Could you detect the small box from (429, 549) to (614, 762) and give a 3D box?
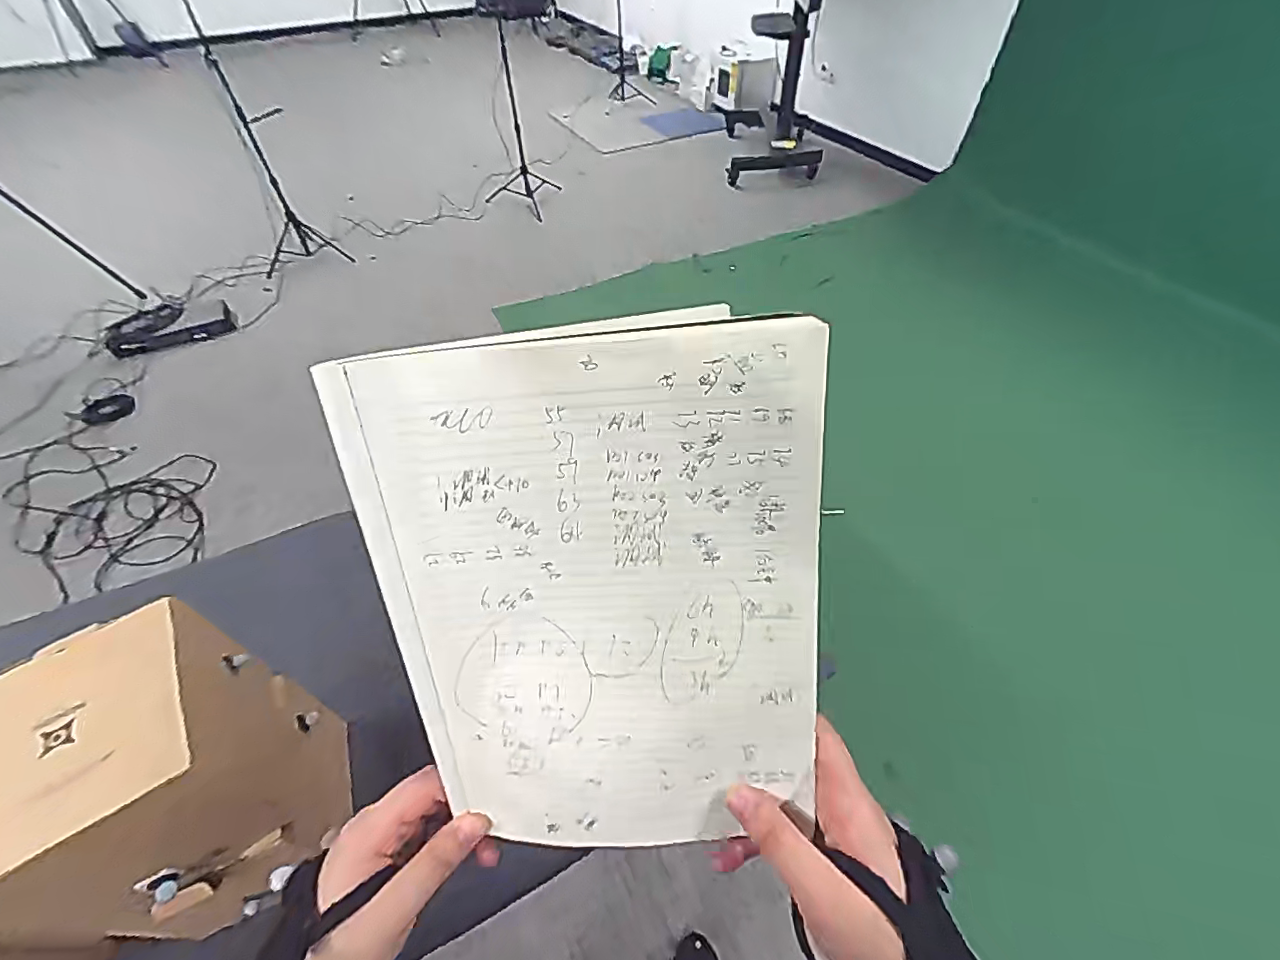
[{"bbox_3d":[-0.142,0.226,0.695,0.179,0.176,0.168,-23,51,-16],"label":"small box"}]

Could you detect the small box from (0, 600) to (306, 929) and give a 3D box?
[{"bbox_3d":[-0.429,0.246,0.470,0.168,0.176,0.179,-29,54,-21],"label":"small box"}]

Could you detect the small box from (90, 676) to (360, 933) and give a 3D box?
[{"bbox_3d":[-0.429,0.354,0.592,0.168,0.176,0.179,-20,51,-14],"label":"small box"}]
